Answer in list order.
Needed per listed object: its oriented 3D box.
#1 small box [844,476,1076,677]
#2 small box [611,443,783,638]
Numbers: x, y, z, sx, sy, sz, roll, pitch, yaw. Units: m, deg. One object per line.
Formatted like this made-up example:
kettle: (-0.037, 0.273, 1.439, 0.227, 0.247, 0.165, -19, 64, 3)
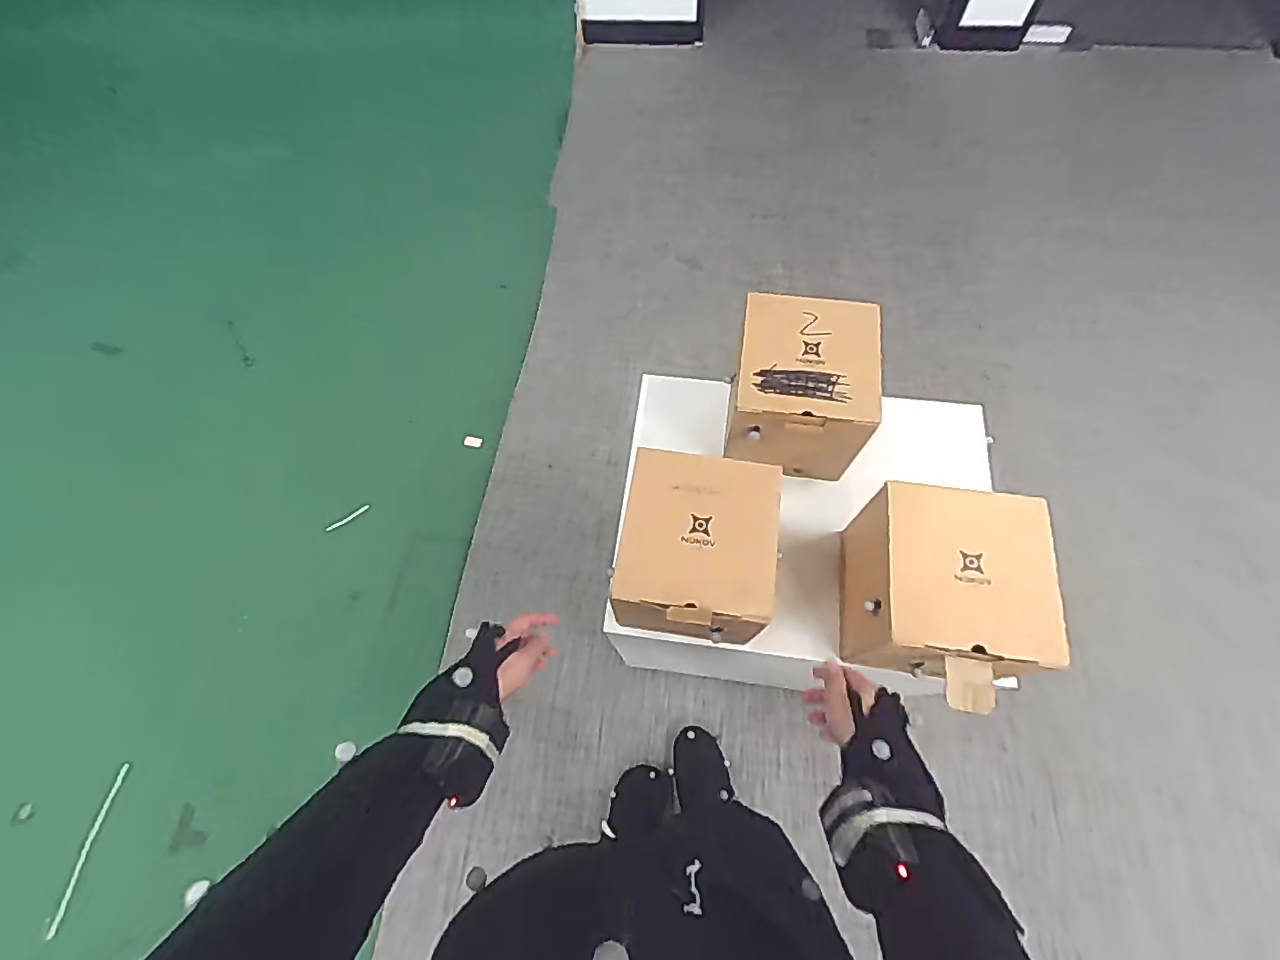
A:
small box: (0.339, 0.116, 0.614, 0.168, 0.176, 0.179, 7, 67, 6)
small box: (0.066, 0.080, 0.641, 0.168, 0.176, 0.179, 8, 65, 4)
